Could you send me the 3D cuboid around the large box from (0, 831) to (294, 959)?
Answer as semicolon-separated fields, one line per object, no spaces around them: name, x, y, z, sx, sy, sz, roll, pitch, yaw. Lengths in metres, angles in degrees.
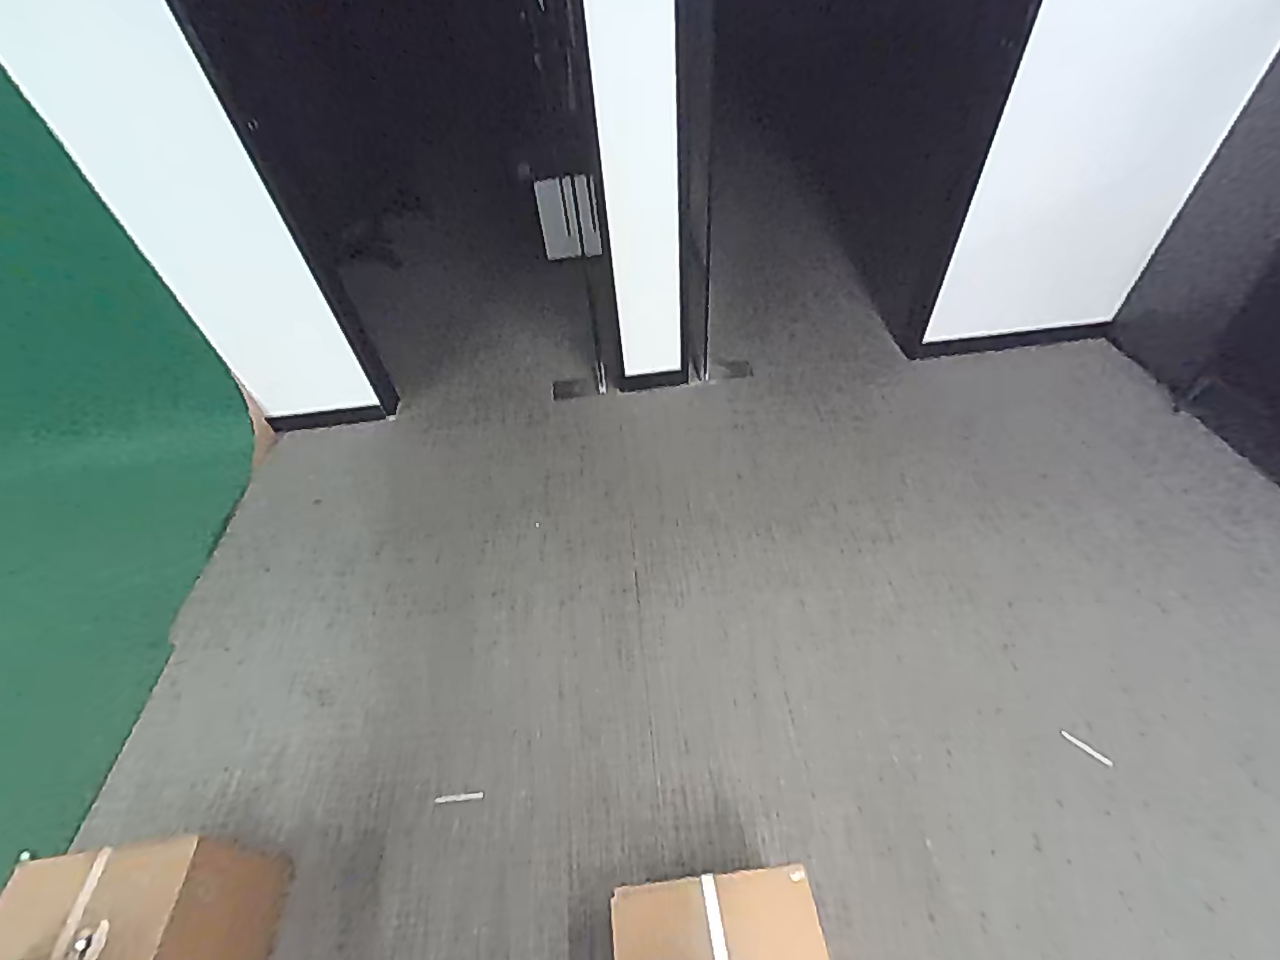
large box;-0.877;0.885;0.919;0.320;0.320;0.408;-8;46;-2
